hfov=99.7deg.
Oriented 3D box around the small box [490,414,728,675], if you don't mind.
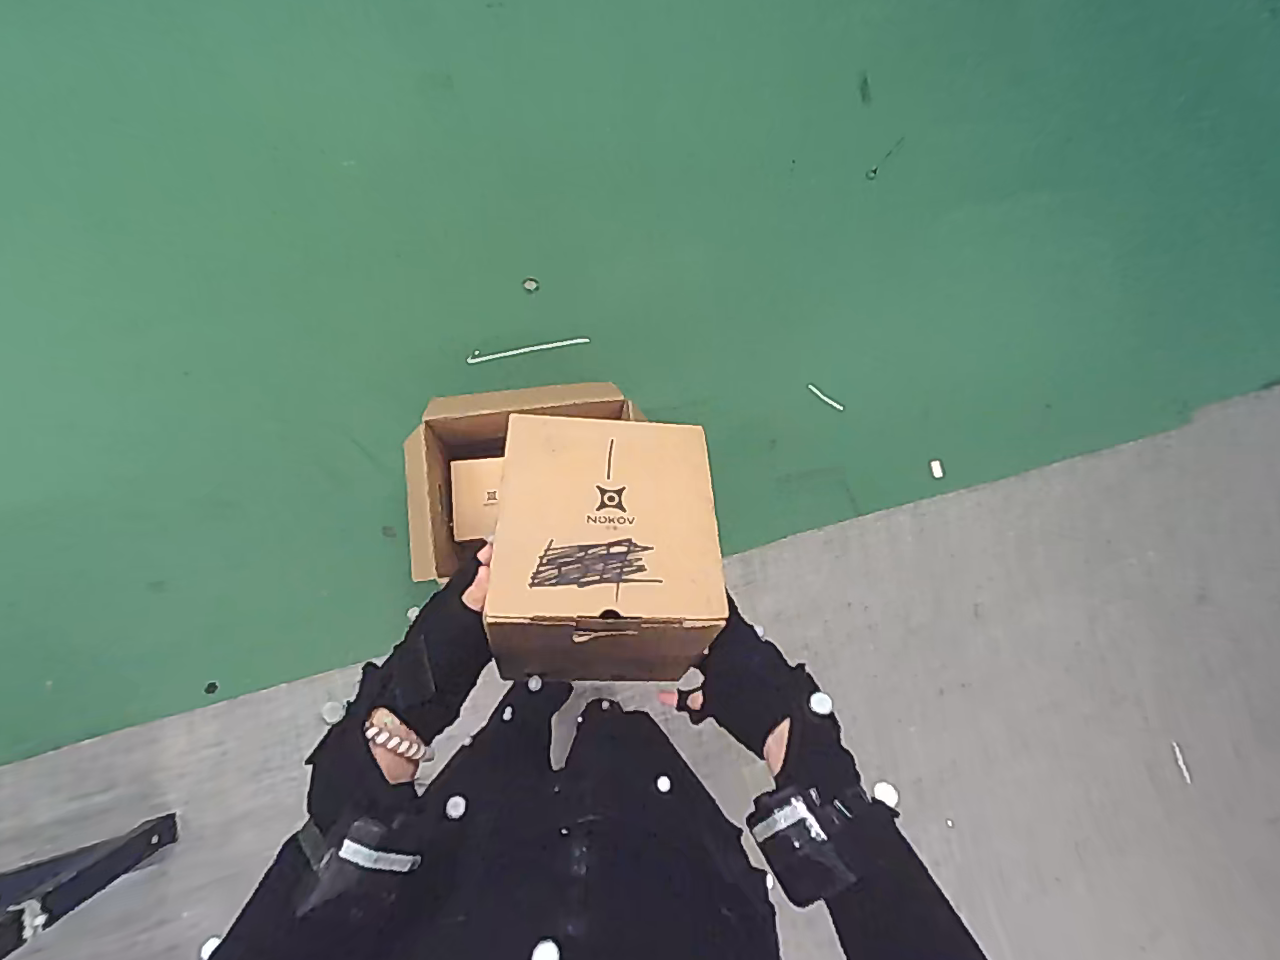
[{"bbox_3d":[-0.032,0.066,0.476,0.168,0.176,0.179,3,56,-9],"label":"small box"}]
